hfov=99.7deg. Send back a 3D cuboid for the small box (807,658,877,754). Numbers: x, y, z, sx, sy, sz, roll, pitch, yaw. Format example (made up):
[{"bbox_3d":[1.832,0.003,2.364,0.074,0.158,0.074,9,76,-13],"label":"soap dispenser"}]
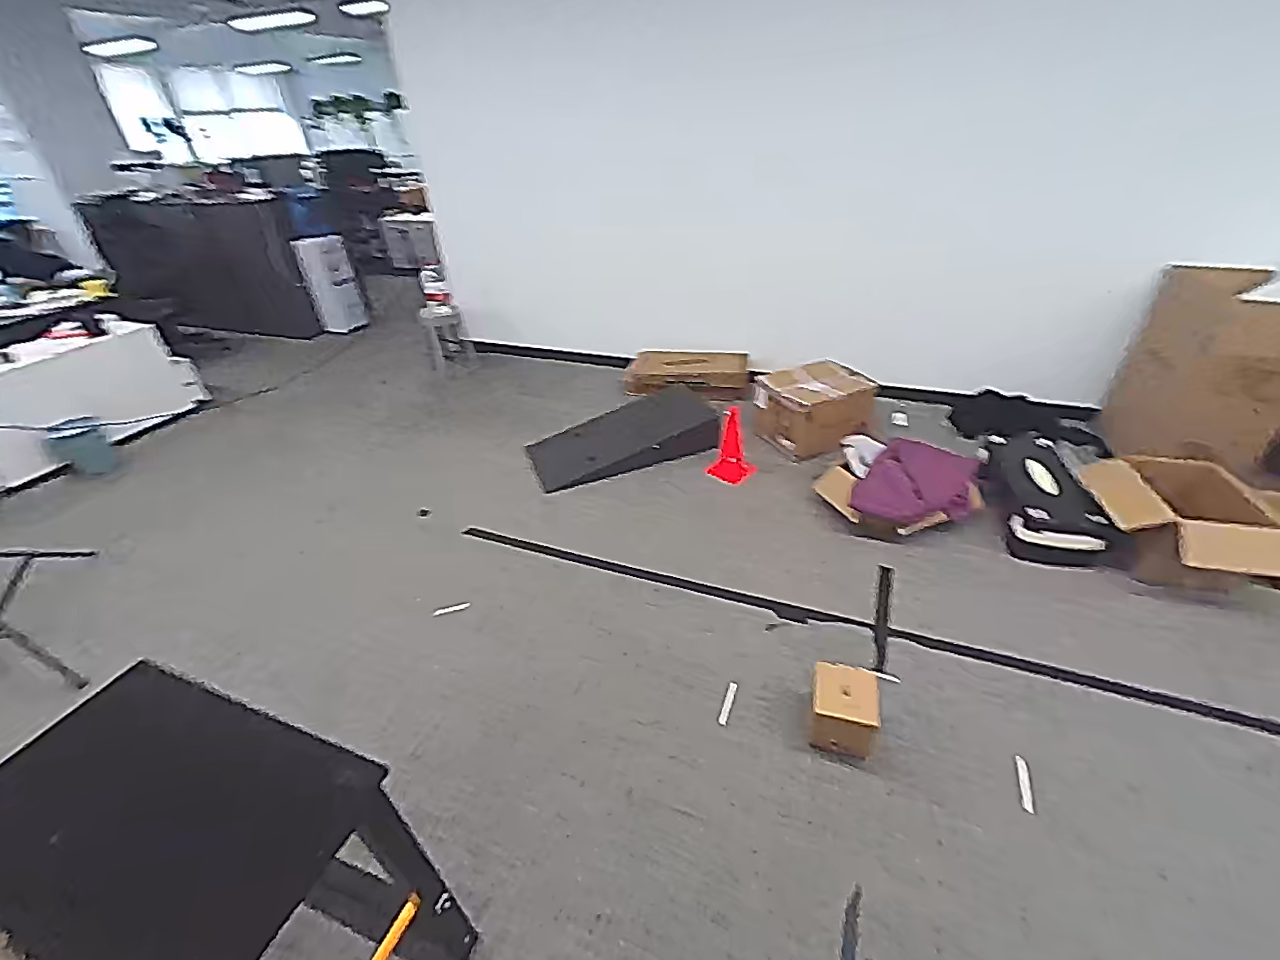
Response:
[{"bbox_3d":[0.579,0.652,1.563,0.168,0.176,0.179,6,37,15],"label":"small box"}]
